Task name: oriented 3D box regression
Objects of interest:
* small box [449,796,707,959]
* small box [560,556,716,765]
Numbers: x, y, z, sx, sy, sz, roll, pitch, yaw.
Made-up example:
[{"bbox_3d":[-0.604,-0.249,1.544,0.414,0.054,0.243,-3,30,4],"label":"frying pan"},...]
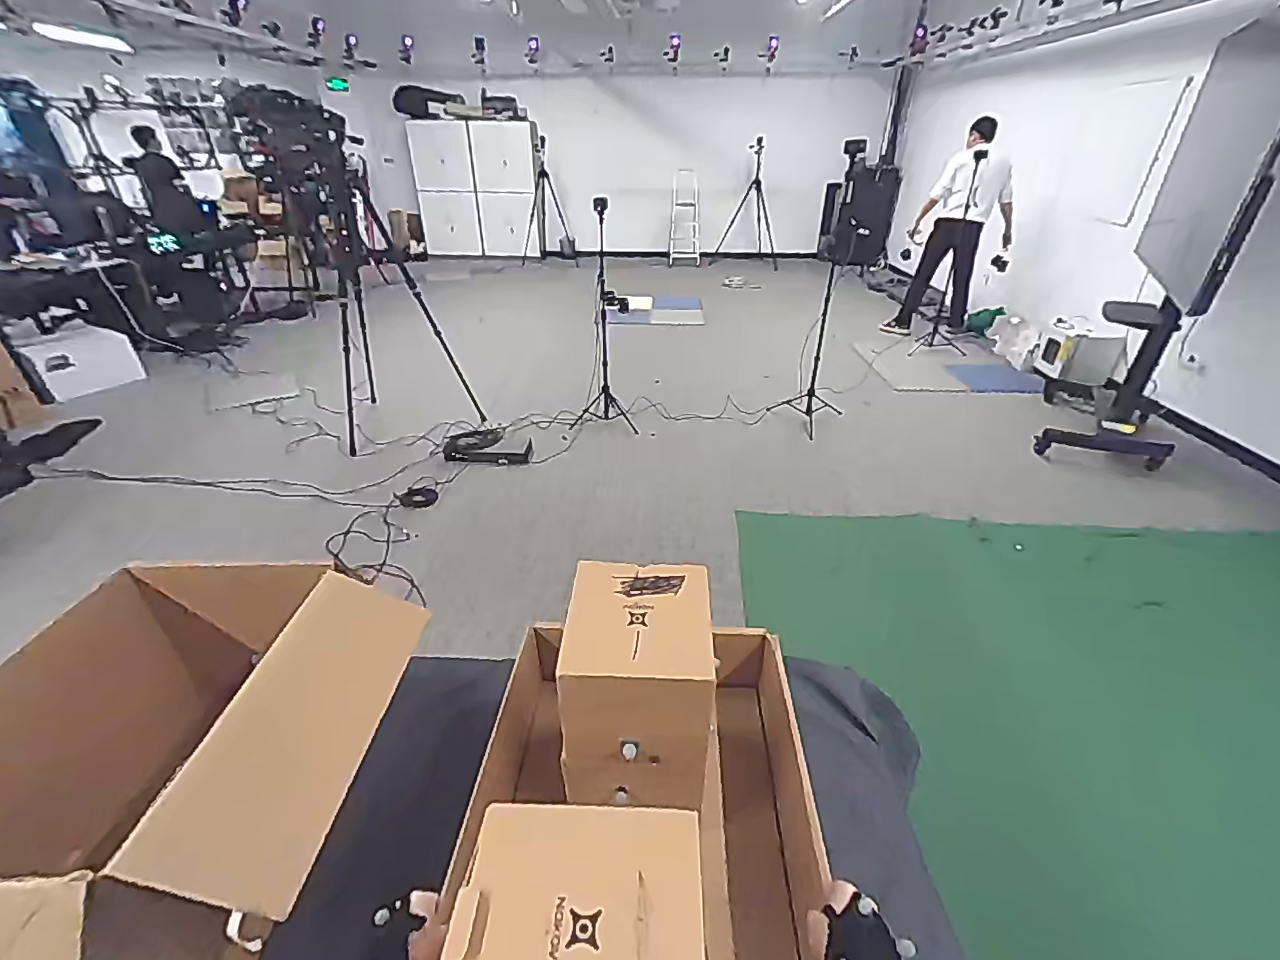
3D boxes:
[{"bbox_3d":[-0.041,0.377,0.423,0.179,0.176,0.168,1,32,1],"label":"small box"},{"bbox_3d":[0.001,0.217,0.665,0.168,0.176,0.179,2,34,2],"label":"small box"}]
